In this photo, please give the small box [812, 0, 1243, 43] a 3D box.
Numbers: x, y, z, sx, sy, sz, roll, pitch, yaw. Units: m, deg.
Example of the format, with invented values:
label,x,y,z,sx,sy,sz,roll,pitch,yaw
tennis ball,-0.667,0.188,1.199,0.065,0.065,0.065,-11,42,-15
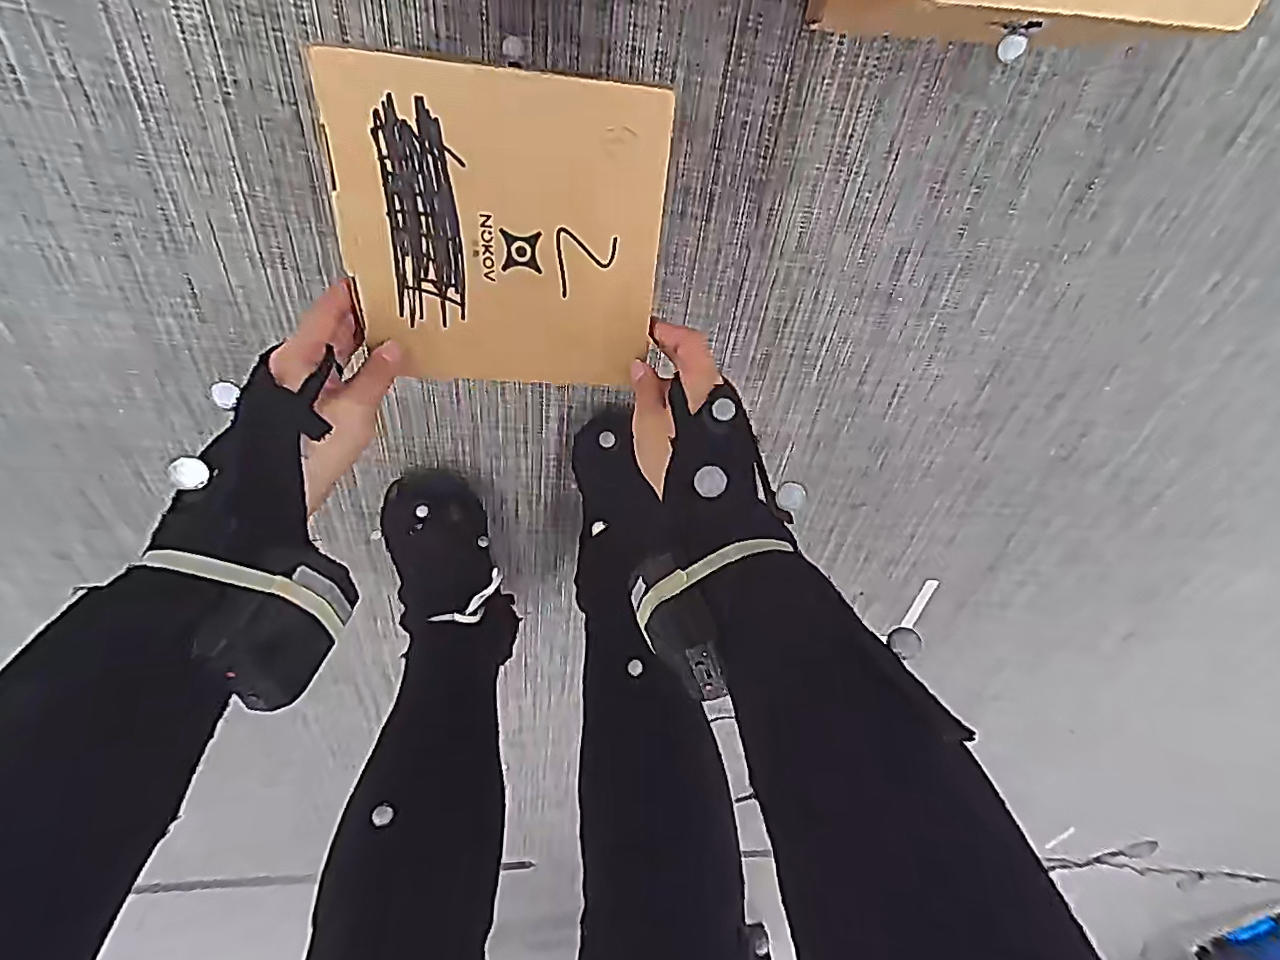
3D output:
label,x,y,z,sx,sy,sz,roll,pitch,yaw
small box,0.218,-0.345,0.287,0.179,0.176,0.168,0,127,-6
